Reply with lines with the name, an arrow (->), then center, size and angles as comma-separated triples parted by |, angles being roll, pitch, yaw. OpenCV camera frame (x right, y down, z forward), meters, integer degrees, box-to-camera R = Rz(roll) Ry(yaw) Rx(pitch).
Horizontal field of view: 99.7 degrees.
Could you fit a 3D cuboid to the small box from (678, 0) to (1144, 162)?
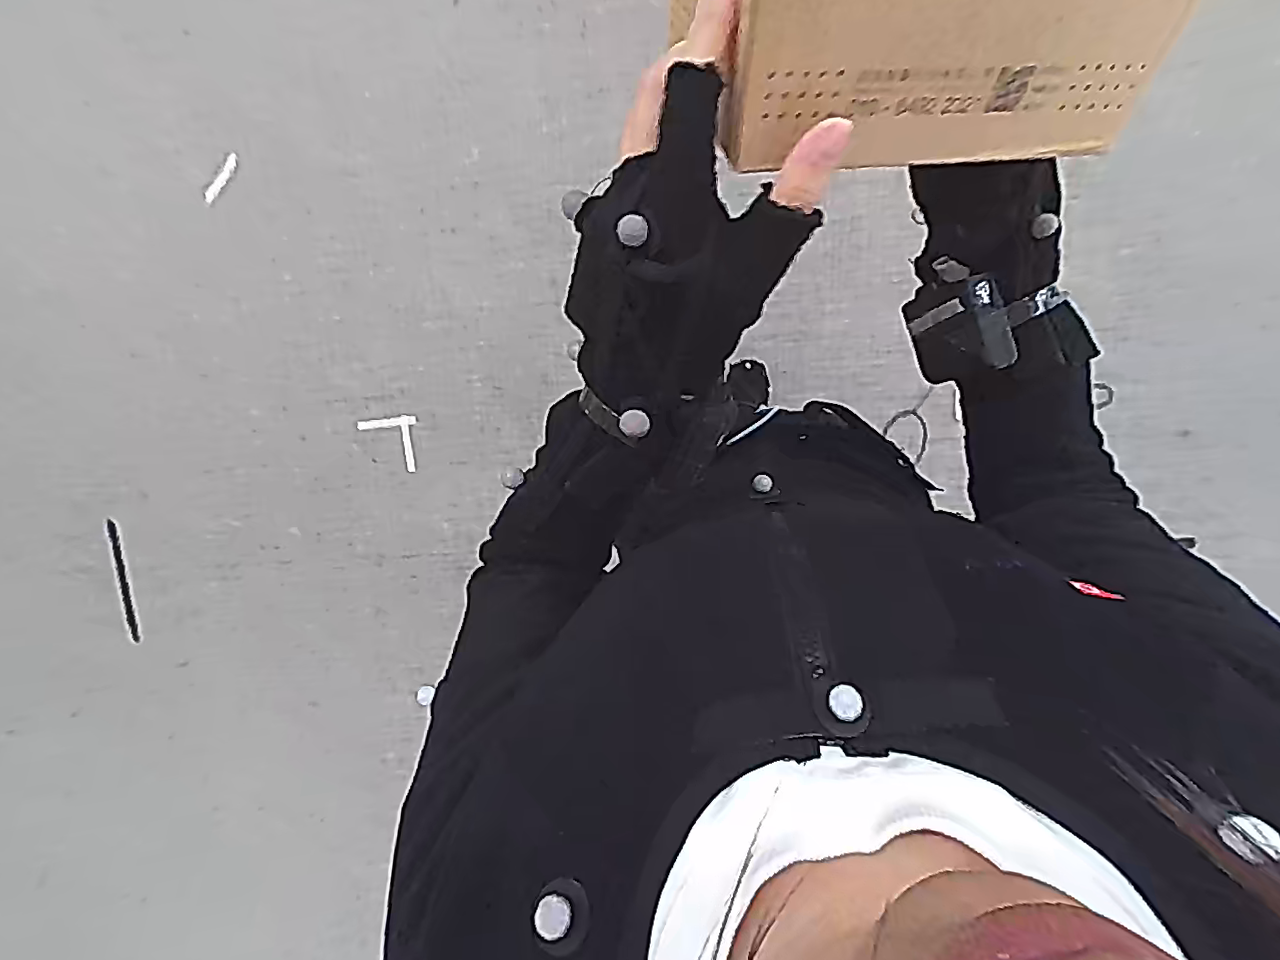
small box -> 0.110, -0.255, 0.233 | 0.168, 0.179, 0.176 | -4, 140, -3
